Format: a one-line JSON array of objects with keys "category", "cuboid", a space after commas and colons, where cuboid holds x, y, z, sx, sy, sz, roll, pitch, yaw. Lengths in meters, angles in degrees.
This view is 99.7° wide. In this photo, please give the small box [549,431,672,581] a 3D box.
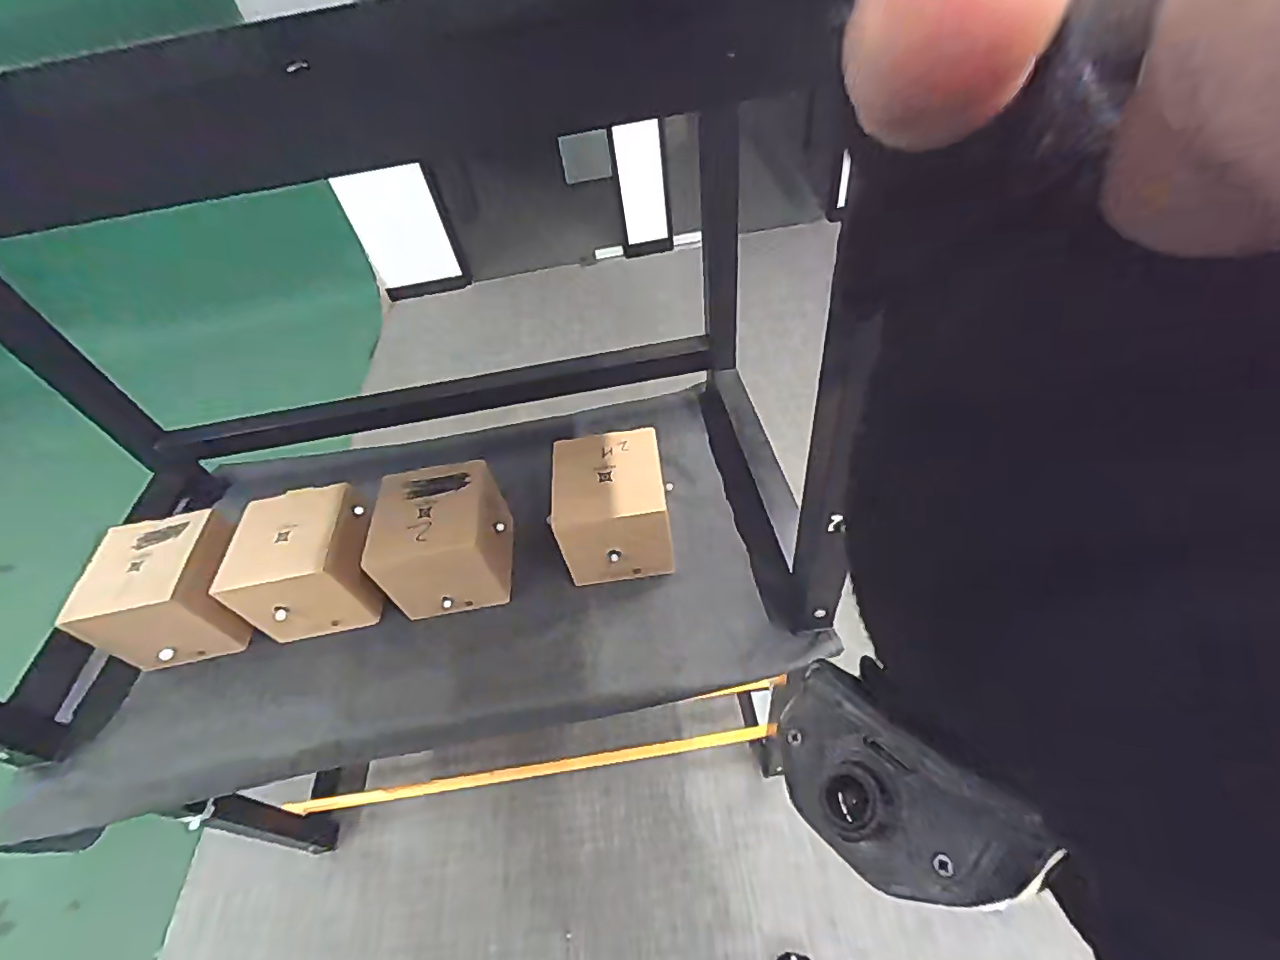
[{"category": "small box", "cuboid": [-0.043, 0.049, 0.872, 0.168, 0.176, 0.179, -8, 47, 3]}]

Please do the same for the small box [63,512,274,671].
[{"category": "small box", "cuboid": [-0.740, 0.183, 0.879, 0.168, 0.176, 0.179, -12, 48, -1]}]
